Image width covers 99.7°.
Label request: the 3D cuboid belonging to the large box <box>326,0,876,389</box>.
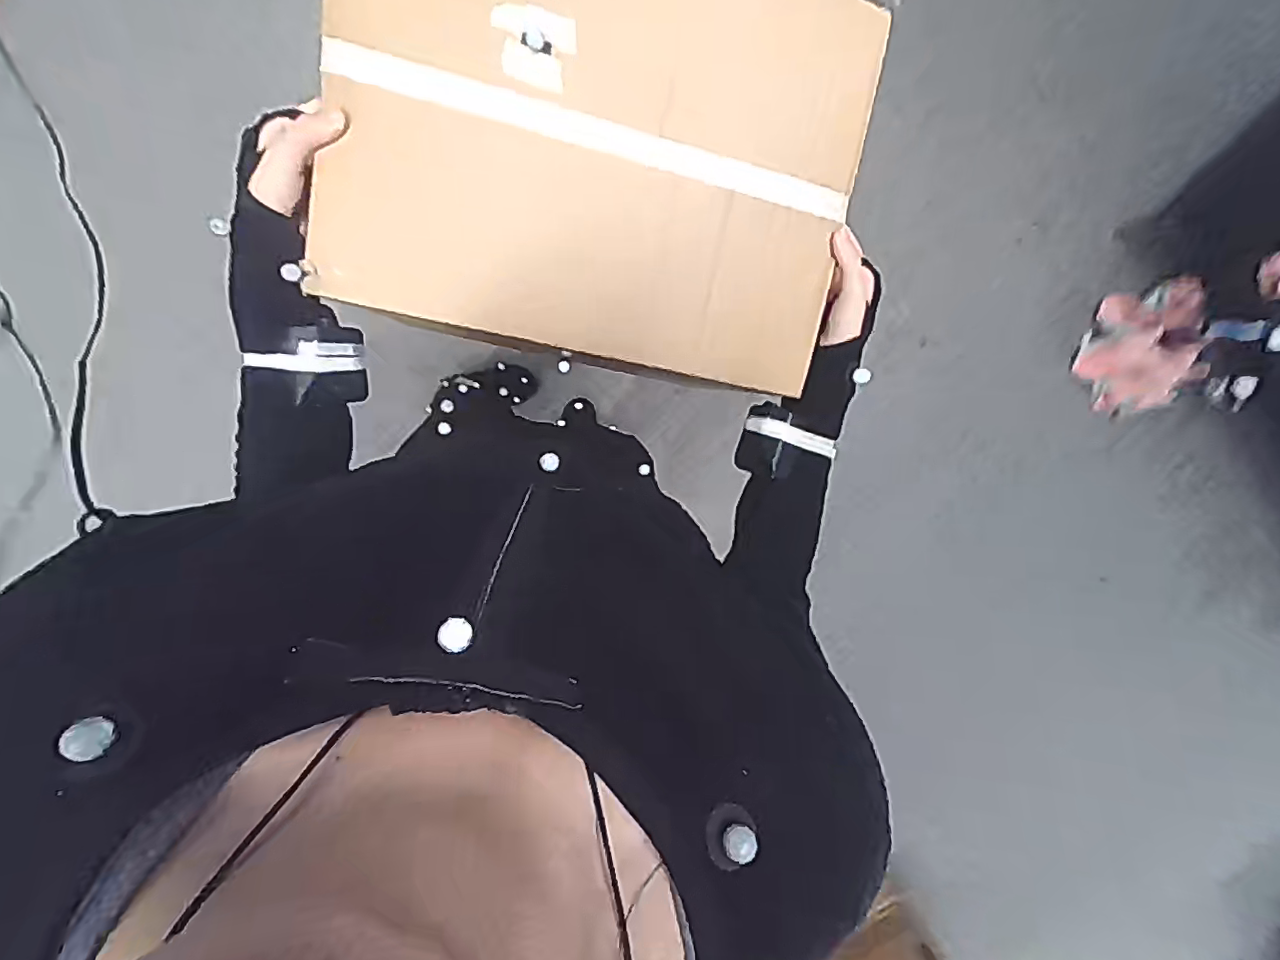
[{"bbox_3d":[-0.047,-0.289,0.573,0.408,0.320,0.320,9,100,-12],"label":"large box"}]
